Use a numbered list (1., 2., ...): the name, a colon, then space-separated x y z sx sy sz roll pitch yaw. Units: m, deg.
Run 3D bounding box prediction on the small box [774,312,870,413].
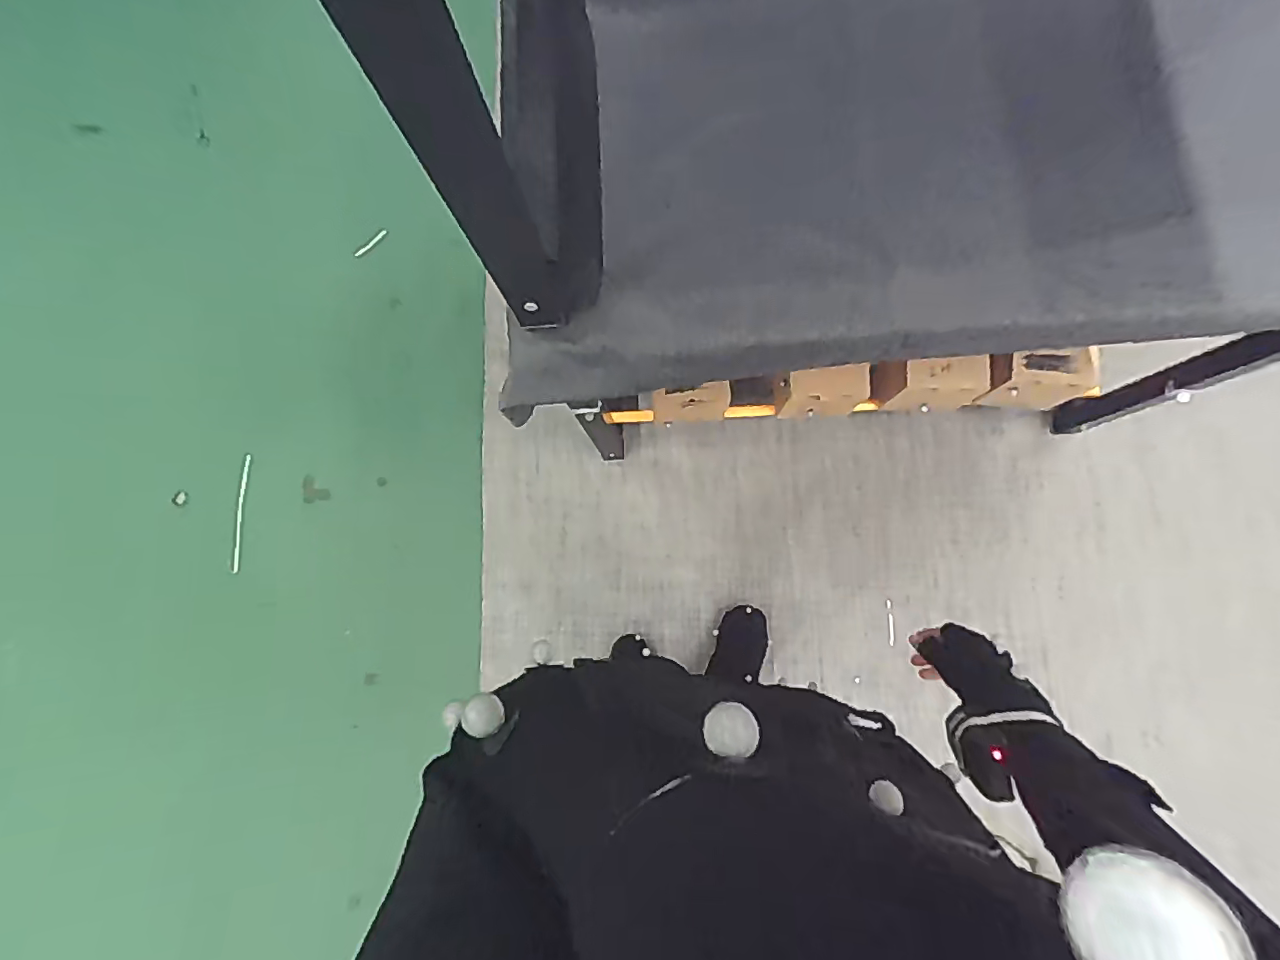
1. small box: 0.398 -0.255 1.206 0.168 0.176 0.179 -1 83 4
